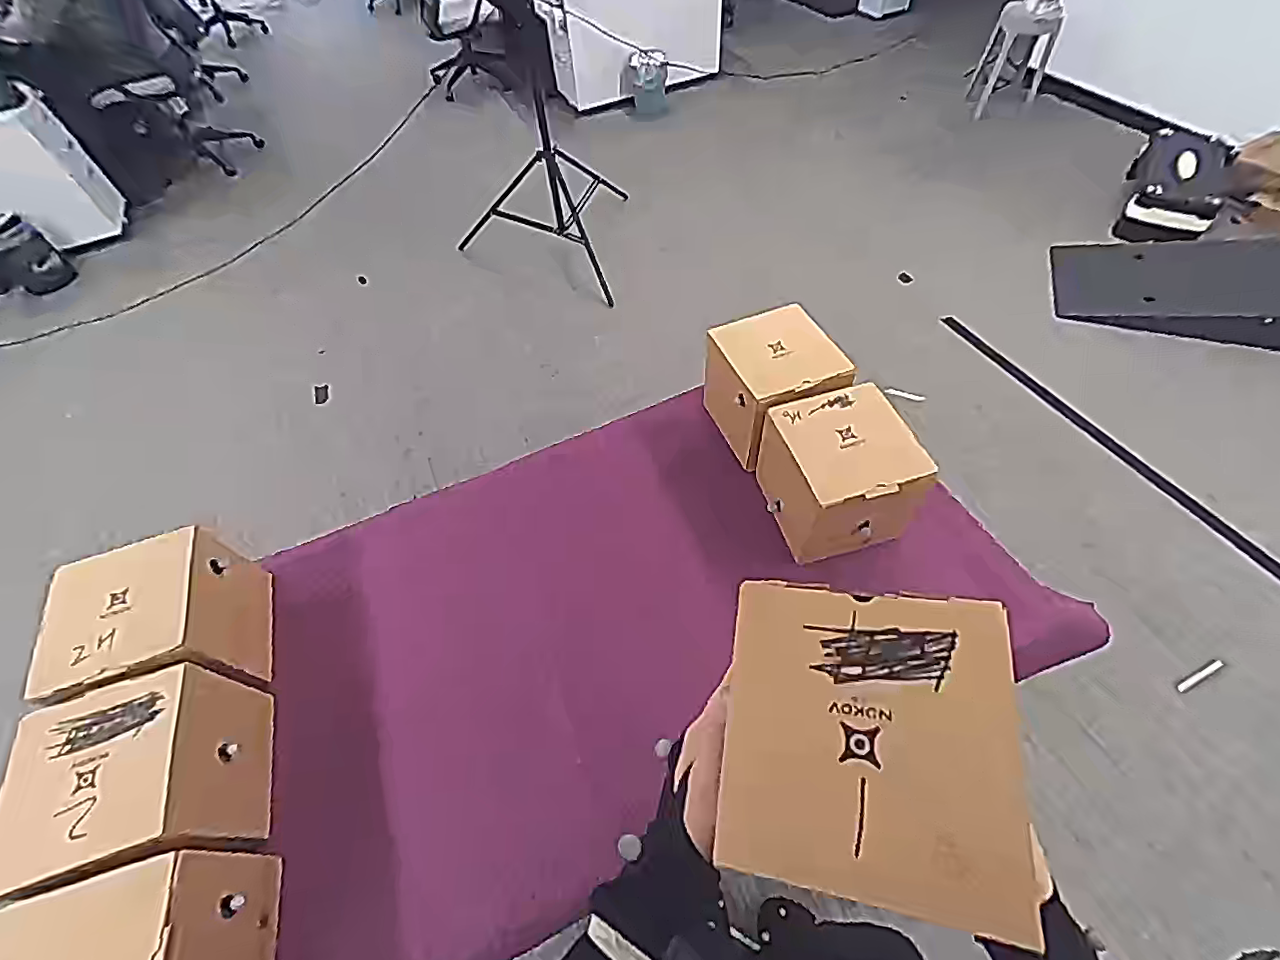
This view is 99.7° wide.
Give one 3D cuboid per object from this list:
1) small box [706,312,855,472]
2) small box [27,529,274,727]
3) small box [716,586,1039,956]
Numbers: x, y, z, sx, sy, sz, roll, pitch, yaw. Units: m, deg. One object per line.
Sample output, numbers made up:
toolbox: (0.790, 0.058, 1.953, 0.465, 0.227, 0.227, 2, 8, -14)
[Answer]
small box: (0.216, -0.143, 0.895, 0.168, 0.176, 0.179, -19, 55, -10)
small box: (-0.617, 0.198, 0.713, 0.168, 0.176, 0.179, -19, 57, -9)
small box: (0.160, 0.194, 0.396, 0.168, 0.176, 0.179, 1, 62, 21)
